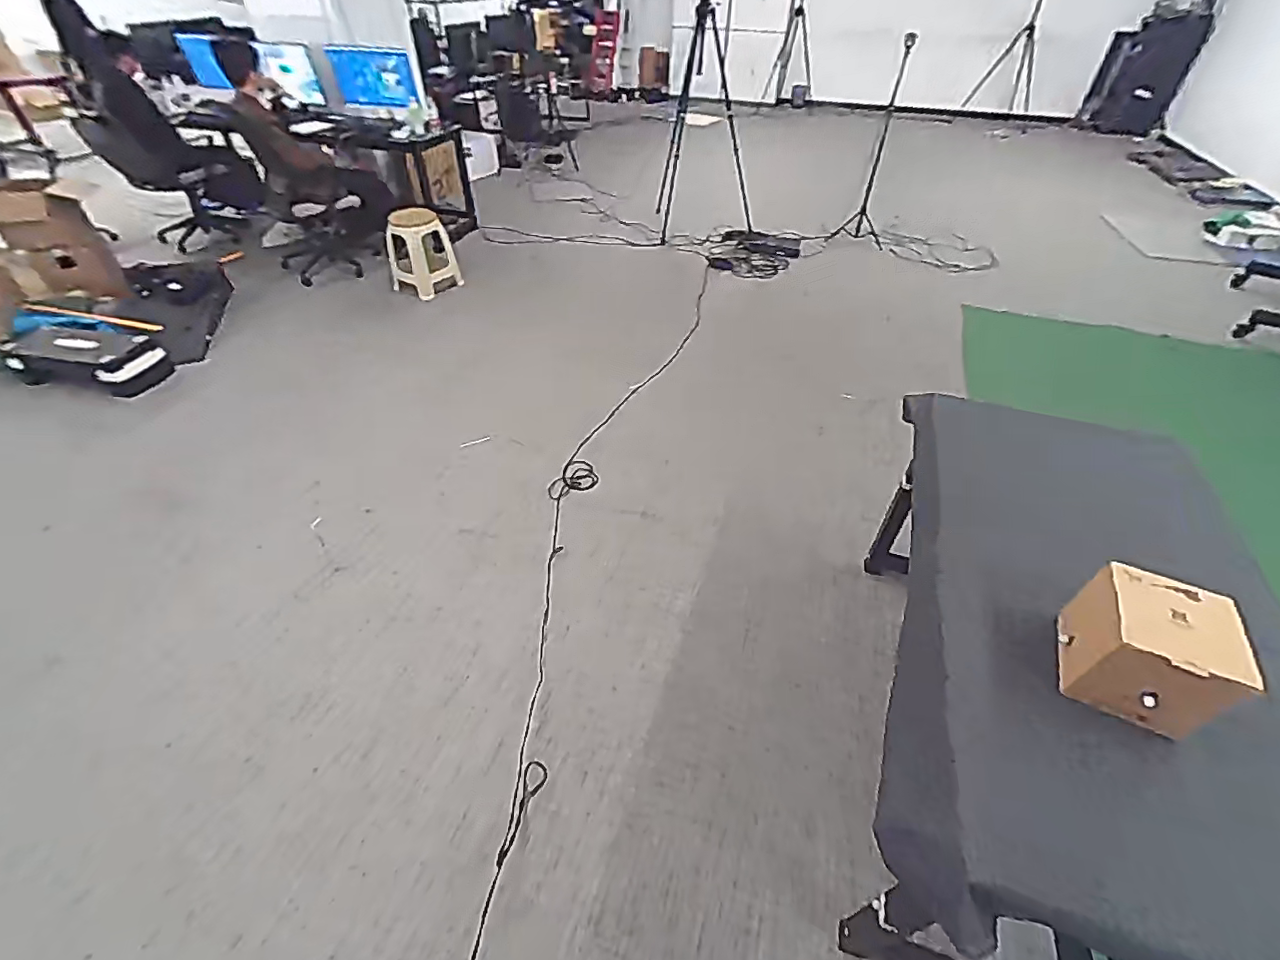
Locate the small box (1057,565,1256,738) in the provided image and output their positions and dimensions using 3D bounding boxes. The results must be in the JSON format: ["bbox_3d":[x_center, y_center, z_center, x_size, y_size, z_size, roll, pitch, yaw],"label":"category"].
[{"bbox_3d":[0.808,0.278,0.871,0.168,0.176,0.179,21,47,20],"label":"small box"}]
